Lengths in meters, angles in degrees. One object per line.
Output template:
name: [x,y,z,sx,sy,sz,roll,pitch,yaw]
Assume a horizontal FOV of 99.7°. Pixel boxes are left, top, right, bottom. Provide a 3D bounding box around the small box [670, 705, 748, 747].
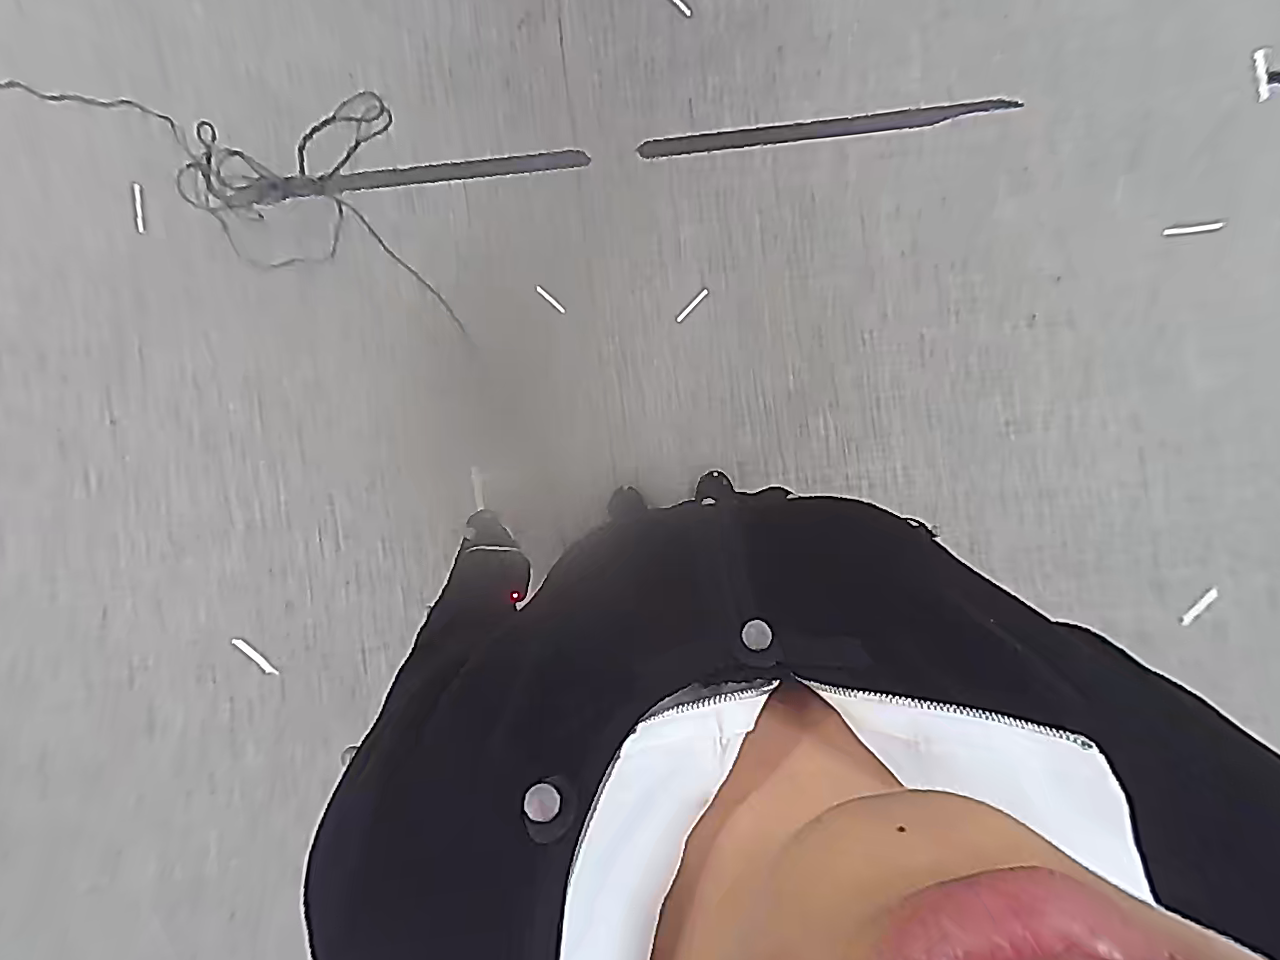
small box: [0.161,0.607,1.224,0.168,0.176,0.179,-8,90,2]
